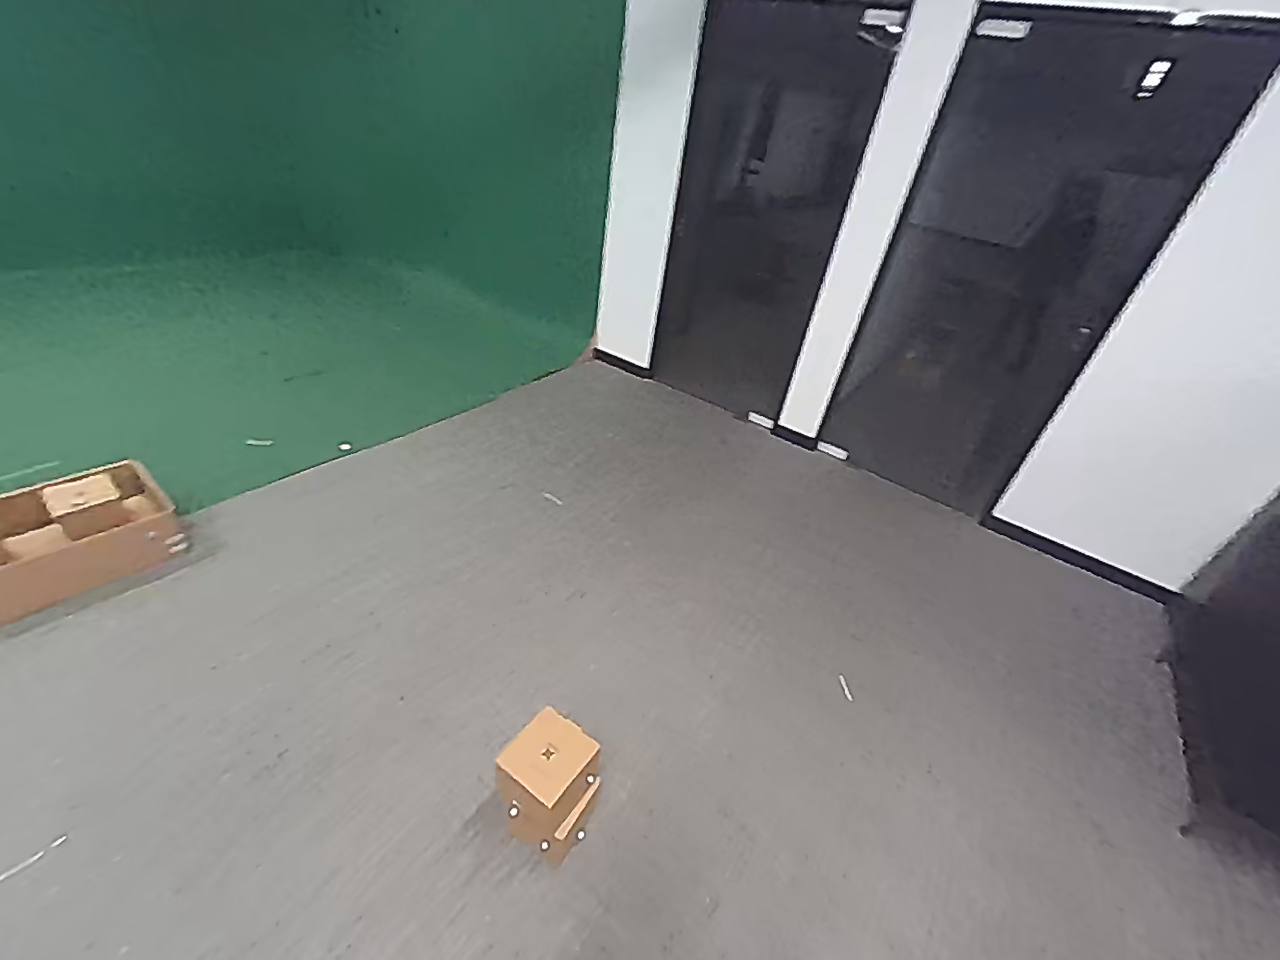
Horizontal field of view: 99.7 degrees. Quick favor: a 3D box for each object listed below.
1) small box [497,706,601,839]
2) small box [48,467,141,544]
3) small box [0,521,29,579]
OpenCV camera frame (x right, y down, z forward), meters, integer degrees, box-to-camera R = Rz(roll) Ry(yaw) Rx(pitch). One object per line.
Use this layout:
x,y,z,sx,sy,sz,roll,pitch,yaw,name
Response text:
-0.213,0.675,1.253,0.168,0.176,0.179,27,39,24,small box
-1.855,0.088,1.842,0.179,0.176,0.168,34,41,28,small box
-2.015,0.205,1.627,0.179,0.176,0.168,29,39,24,small box
